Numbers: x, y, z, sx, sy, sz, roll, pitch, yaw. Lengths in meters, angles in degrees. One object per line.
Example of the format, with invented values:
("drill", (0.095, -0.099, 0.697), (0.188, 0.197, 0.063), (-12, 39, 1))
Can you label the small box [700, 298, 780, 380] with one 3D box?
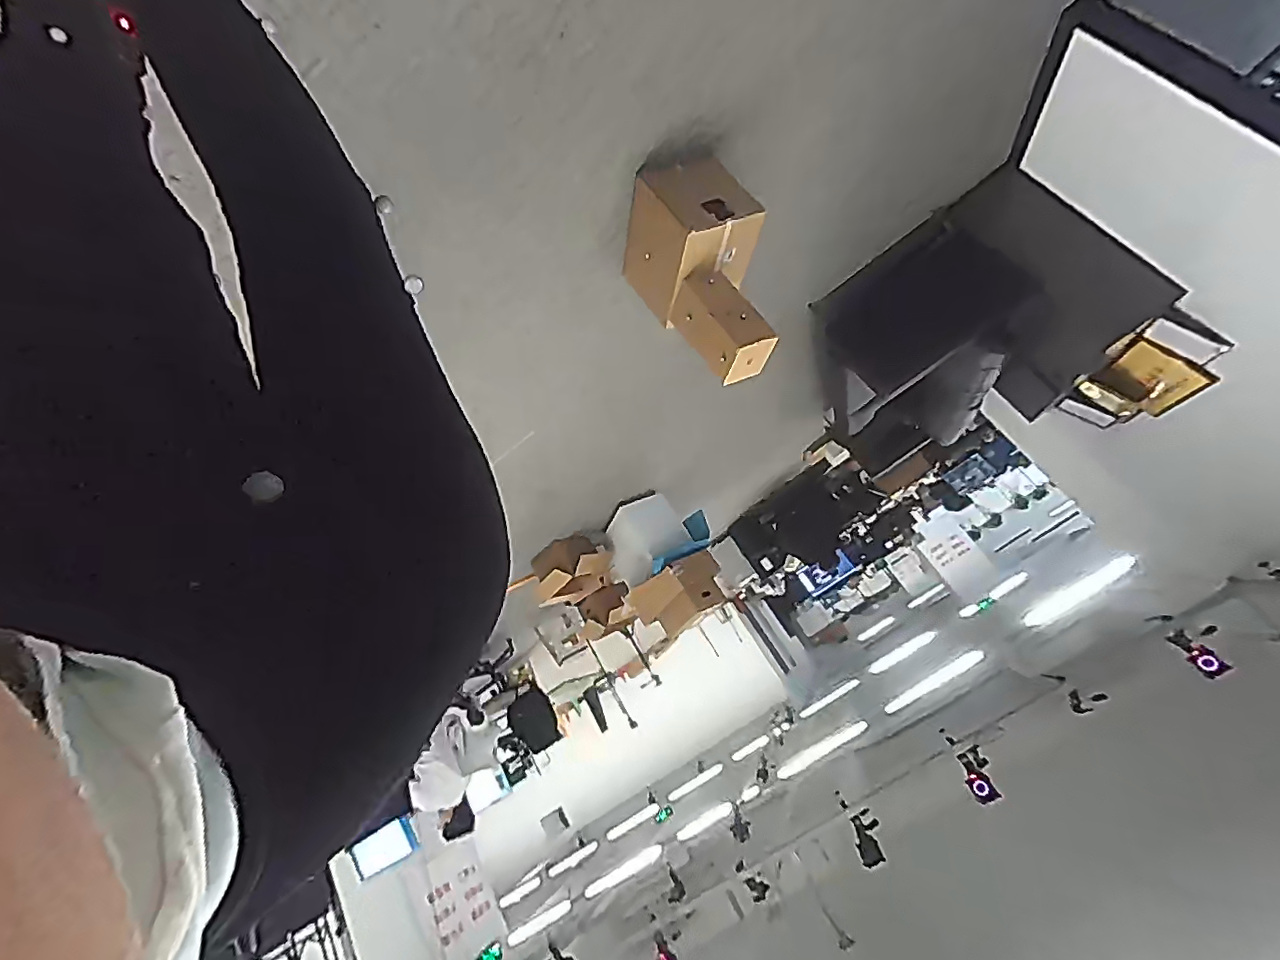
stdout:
("small box", (0.318, -0.462, 1.769), (0.168, 0.176, 0.179), (-22, 156, -23))

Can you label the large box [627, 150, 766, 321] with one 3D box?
("large box", (0.173, -0.840, 1.874), (0.320, 0.320, 0.408), (-26, 158, -20))
